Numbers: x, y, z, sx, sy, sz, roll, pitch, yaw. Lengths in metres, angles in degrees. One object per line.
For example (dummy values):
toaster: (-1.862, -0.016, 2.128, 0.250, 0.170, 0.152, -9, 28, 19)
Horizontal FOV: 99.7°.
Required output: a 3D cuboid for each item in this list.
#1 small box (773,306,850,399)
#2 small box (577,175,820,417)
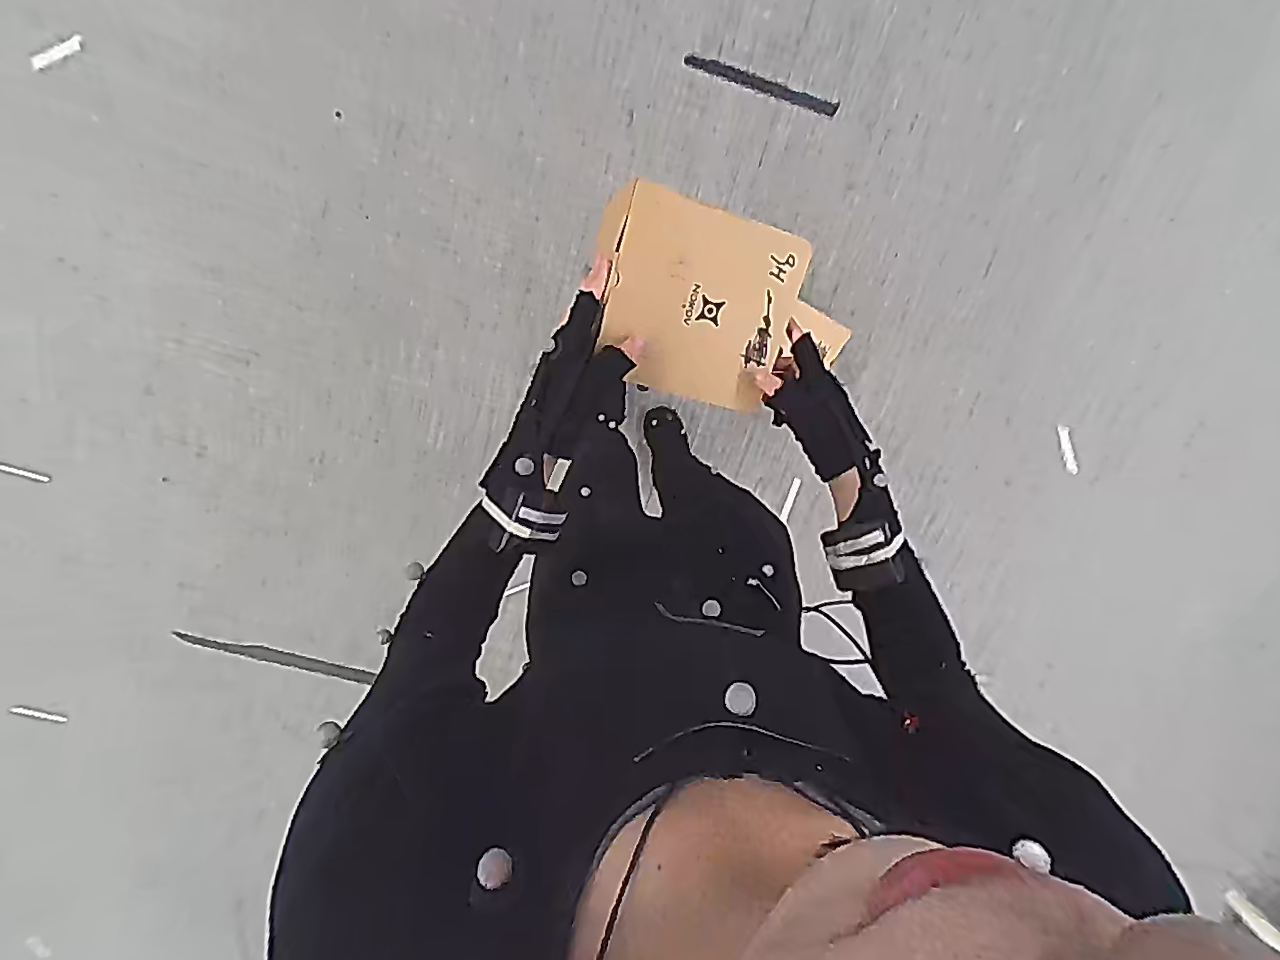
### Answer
small box: (0.366, -0.320, 1.317, 0.179, 0.176, 0.168, 28, 104, -9)
small box: (0.041, -0.178, 0.548, 0.179, 0.176, 0.168, 12, 107, -16)
